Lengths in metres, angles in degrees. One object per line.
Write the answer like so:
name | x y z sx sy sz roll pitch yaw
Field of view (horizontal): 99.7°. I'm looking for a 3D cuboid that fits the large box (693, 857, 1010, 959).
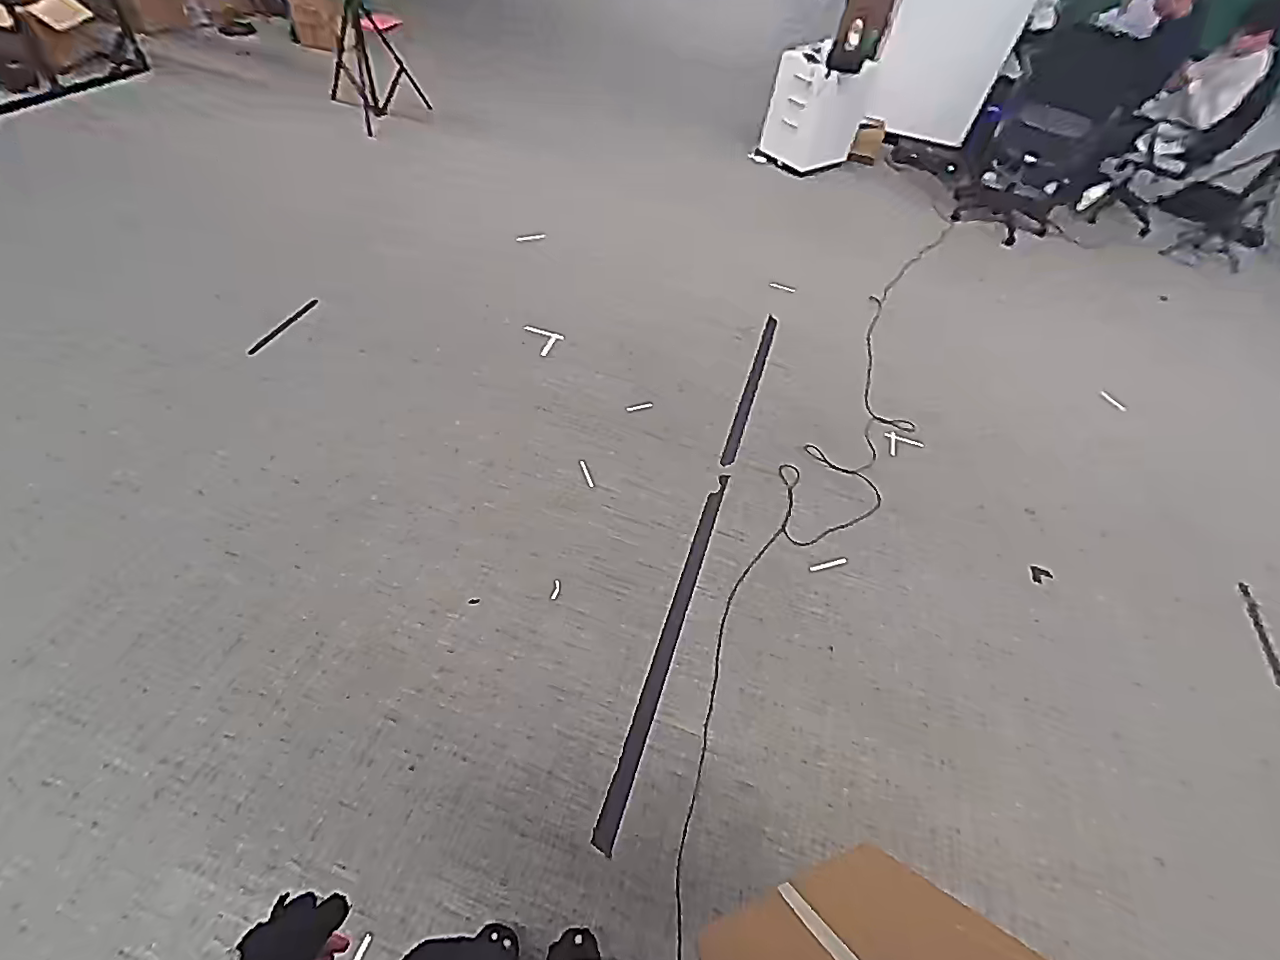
large box | 0.291 0.722 0.608 0.320 0.408 0.320 -19 76 -11
